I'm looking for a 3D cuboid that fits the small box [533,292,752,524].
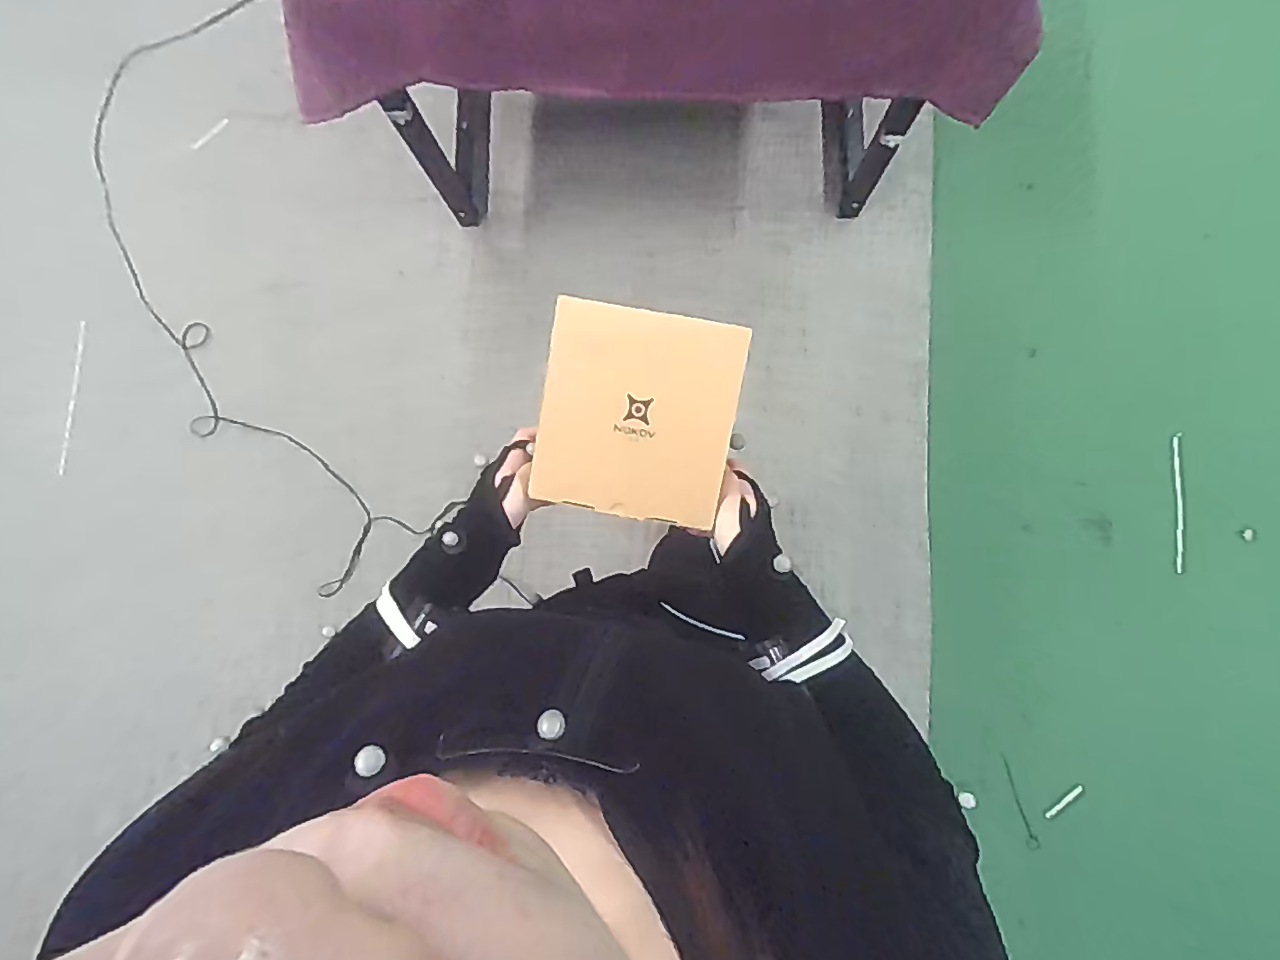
[{"bbox_3d":[0.003,-0.071,0.543,0.168,0.176,0.179,10,99,2],"label":"small box"}]
